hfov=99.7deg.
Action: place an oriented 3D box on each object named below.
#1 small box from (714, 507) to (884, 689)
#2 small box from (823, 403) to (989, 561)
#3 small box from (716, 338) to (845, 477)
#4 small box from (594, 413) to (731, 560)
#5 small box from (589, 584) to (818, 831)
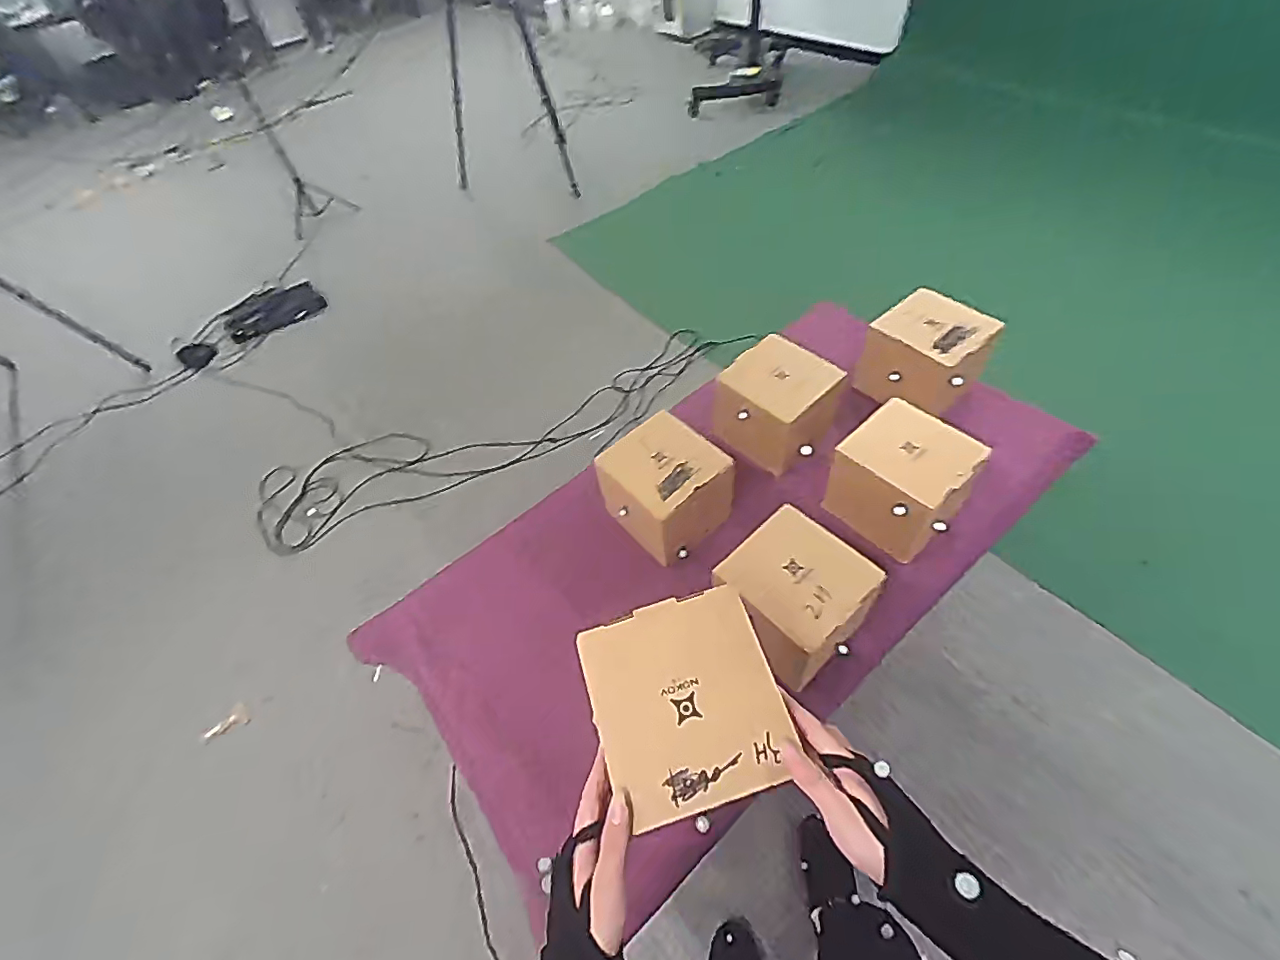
[{"bbox_3d":[0.228,0.182,0.821,0.168,0.176,0.179,-37,57,-19],"label":"small box"},{"bbox_3d":[0.442,0.006,0.929,0.168,0.176,0.179,-37,57,-19],"label":"small box"},{"bbox_3d":[0.264,-0.139,1.060,0.168,0.176,0.179,-38,59,-19],"label":"small box"},{"bbox_3d":[0.045,0.020,0.968,0.168,0.176,0.179,-37,57,-19],"label":"small box"},{"bbox_3d":[0.056,0.233,0.552,0.168,0.176,0.179,-17,61,-2],"label":"small box"}]
